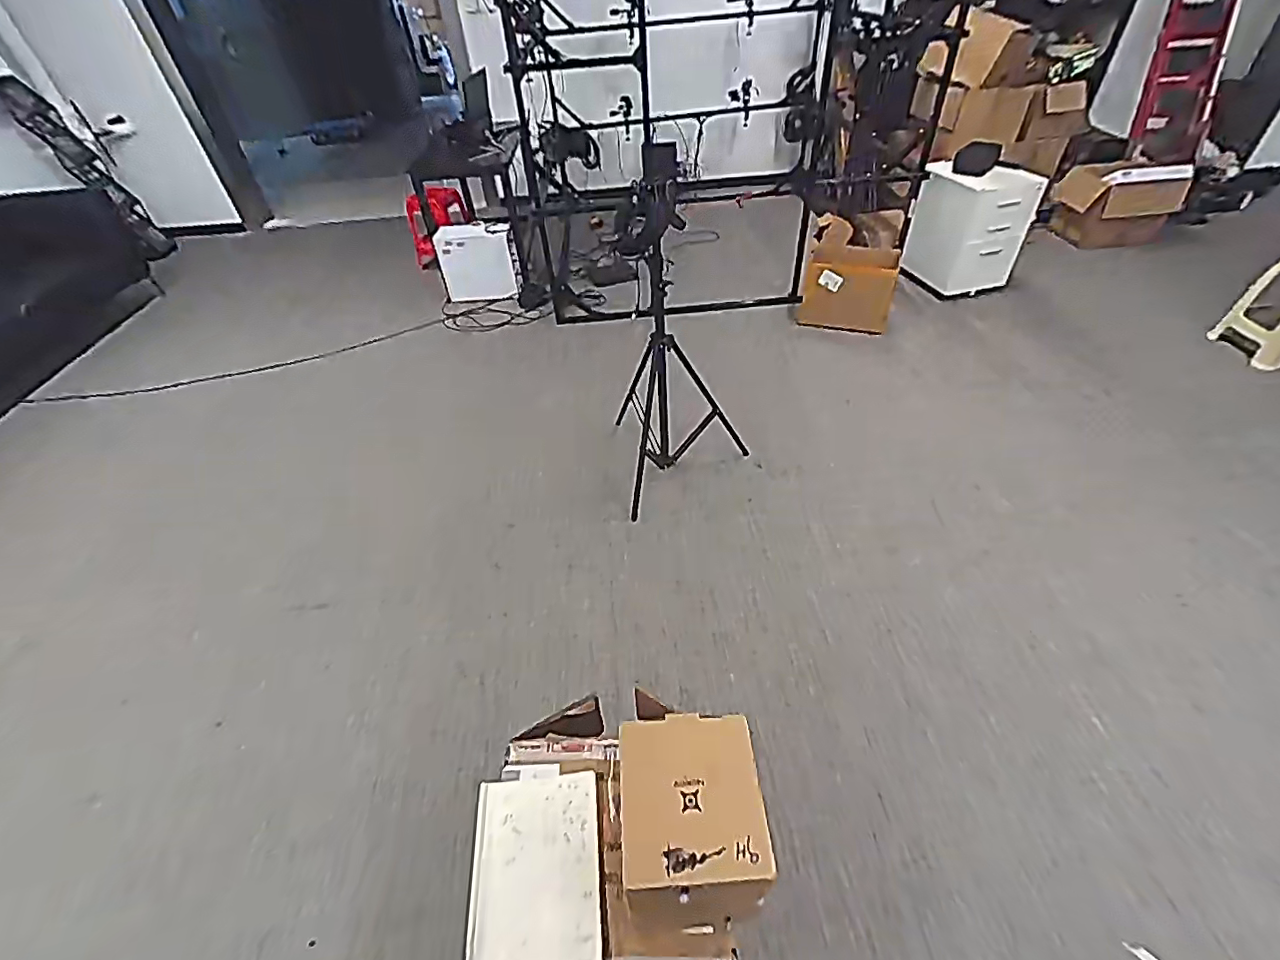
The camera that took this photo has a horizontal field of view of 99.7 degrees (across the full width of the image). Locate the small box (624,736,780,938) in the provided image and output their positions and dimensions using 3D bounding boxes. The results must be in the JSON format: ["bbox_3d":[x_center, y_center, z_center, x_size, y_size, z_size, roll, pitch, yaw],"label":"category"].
[{"bbox_3d":[0.064,0.449,0.683,0.168,0.176,0.179,-3,44,-2],"label":"small box"}]

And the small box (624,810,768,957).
[{"bbox_3d":[0.071,0.573,0.790,0.179,0.176,0.168,-6,44,-3],"label":"small box"}]
